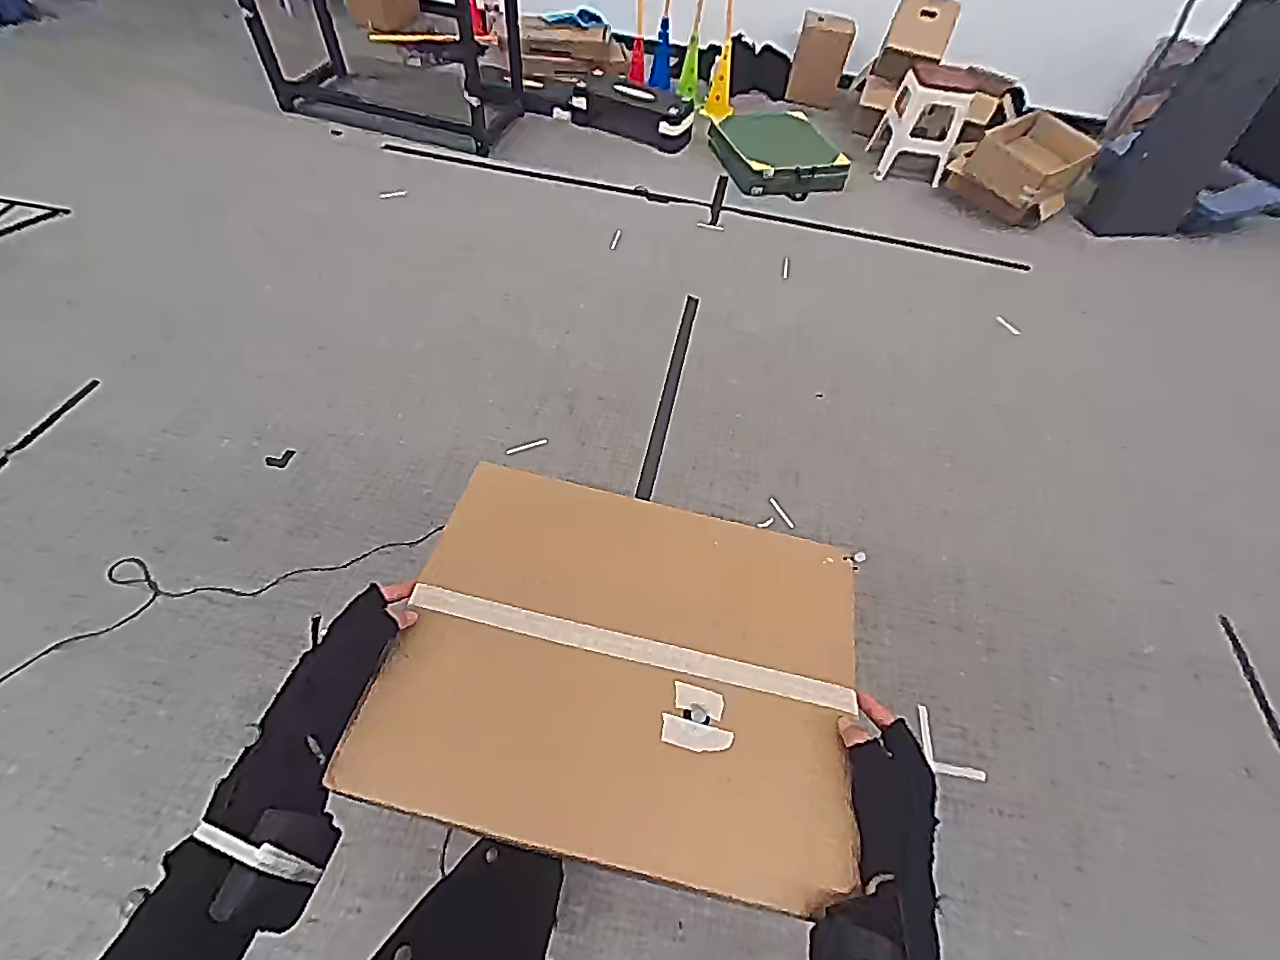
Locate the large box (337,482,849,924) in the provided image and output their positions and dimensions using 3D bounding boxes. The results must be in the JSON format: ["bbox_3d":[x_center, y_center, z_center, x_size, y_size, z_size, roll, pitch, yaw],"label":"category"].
[{"bbox_3d":[-0.028,0.249,0.609,0.408,0.320,0.320,14,55,2],"label":"large box"}]
